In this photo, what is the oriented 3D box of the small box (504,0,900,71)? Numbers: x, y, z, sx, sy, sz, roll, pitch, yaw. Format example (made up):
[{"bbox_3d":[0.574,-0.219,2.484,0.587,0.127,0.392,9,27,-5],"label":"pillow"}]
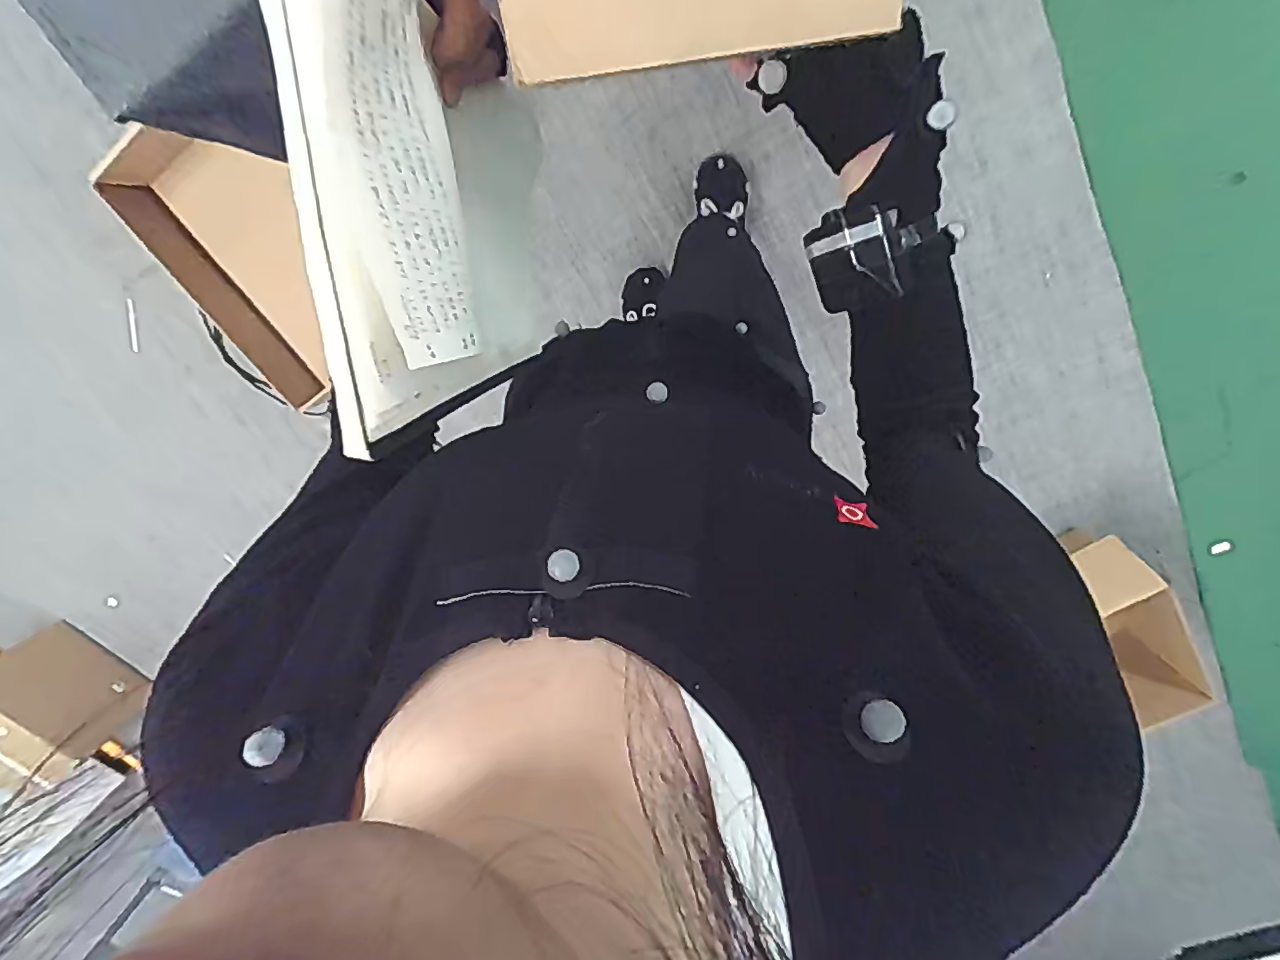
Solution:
[{"bbox_3d":[0.016,-0.308,0.258,0.179,0.176,0.168,-7,126,1],"label":"small box"}]
